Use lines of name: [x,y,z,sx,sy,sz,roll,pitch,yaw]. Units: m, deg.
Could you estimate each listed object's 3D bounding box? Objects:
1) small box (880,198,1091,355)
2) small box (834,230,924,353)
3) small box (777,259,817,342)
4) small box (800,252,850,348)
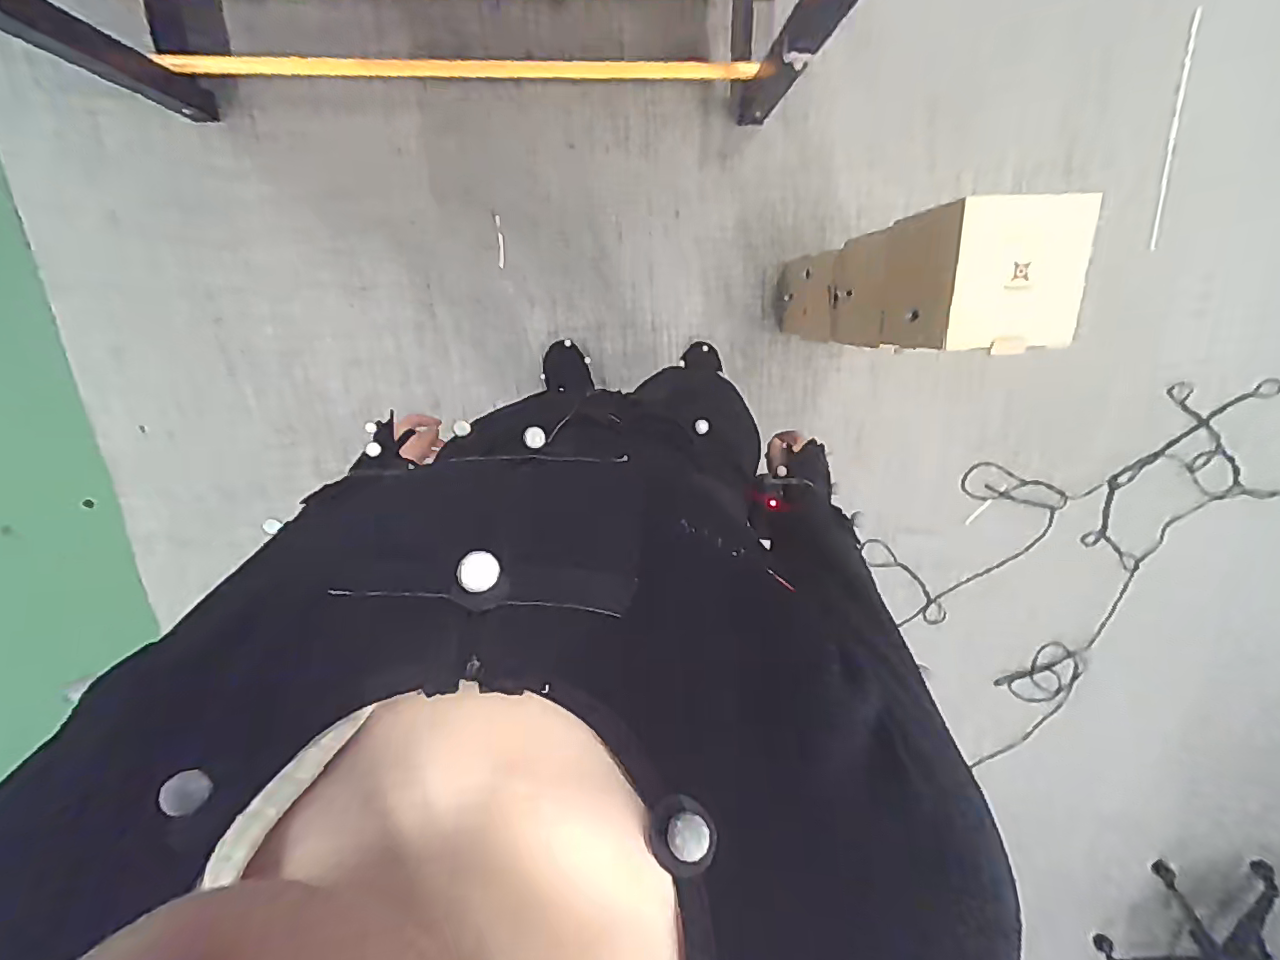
small box: [0.444,-0.265,0.727,0.168,0.176,0.179,-3,105,-3]
small box: [0.433,-0.304,0.884,0.168,0.176,0.179,-2,107,-4]
small box: [0.421,-0.392,1.200,0.179,0.176,0.168,-2,105,-4]
small box: [0.419,-0.343,1.043,0.179,0.176,0.168,-4,106,-3]
